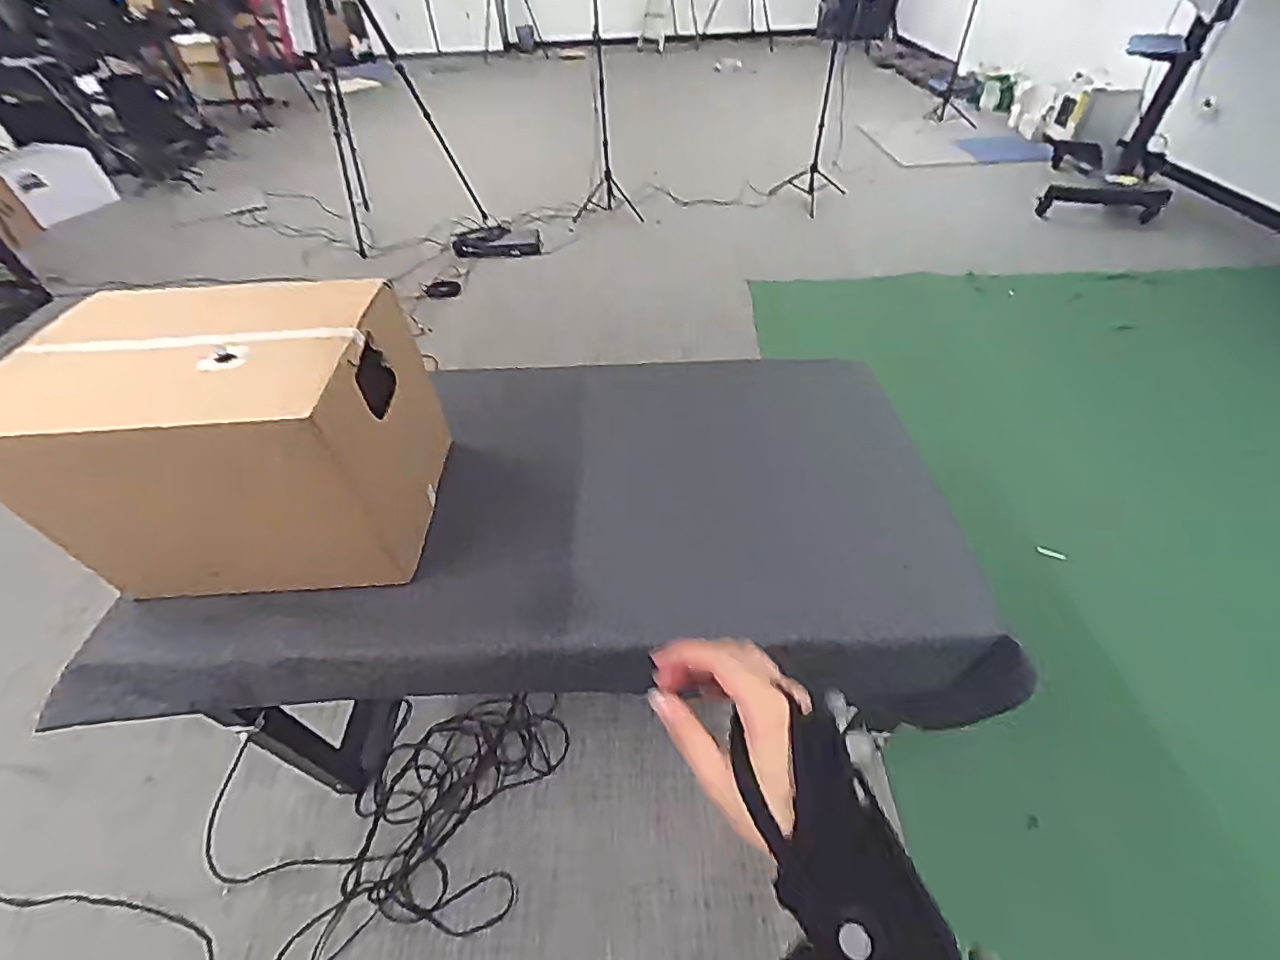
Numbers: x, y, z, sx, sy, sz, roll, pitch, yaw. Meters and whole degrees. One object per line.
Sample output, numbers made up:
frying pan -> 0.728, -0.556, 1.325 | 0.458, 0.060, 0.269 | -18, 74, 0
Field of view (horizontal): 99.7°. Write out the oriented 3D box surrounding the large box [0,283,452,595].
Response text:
large box -> -0.529, -0.059, 0.765 | 0.408, 0.320, 0.320 | -3, 47, -2
